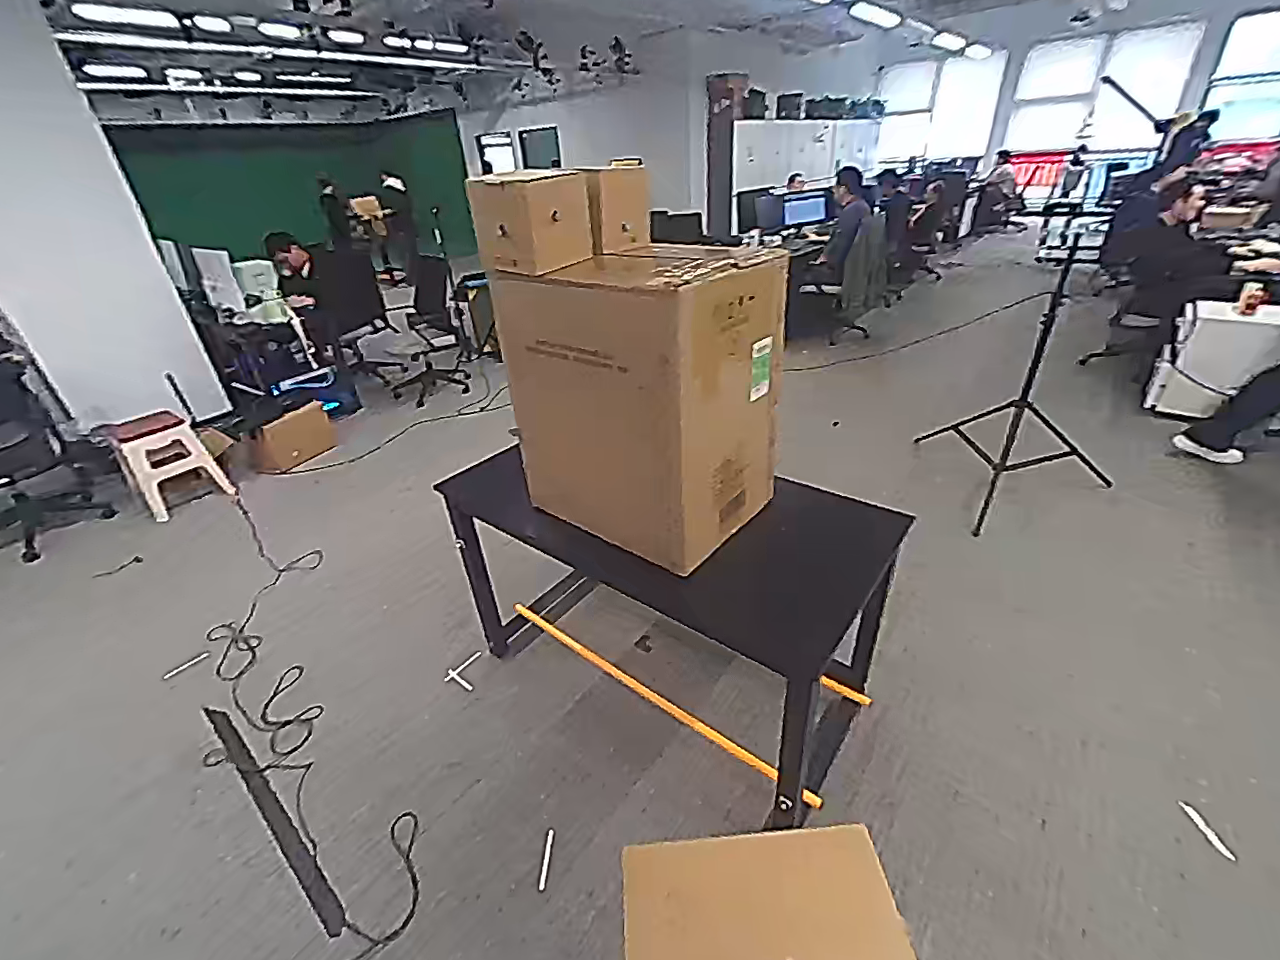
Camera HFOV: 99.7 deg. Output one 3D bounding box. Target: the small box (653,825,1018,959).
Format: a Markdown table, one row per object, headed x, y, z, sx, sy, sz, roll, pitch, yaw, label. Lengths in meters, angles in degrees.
| x | y | z | sx | sy | sz | roll | pitch | yaw | label |
| --- | --- | --- | --- | --- | --- | --- | --- | --- | --- |
| 0.095 | 0.306 | 0.264 | 0.168 | 0.176 | 0.179 | -5 | 36 | -2 | small box |

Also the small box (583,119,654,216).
| x | y | z | sx | sy | sz | roll | pitch | yaw | label |
| --- | --- | --- | --- | --- | --- | --- | --- | --- | --- |
| -0.086 | -0.669 | 1.167 | 0.179 | 0.176 | 0.168 | 22 | 38 | 34 | small box |

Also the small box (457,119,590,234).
| x | y | z | sx | sy | sz | roll | pitch | yaw | label |
| --- | --- | --- | --- | --- | --- | --- | --- | --- | --- |
| -0.210 | -0.577 | 1.029 | 0.168 | 0.176 | 0.179 | 20 | 42 | 29 | small box |
